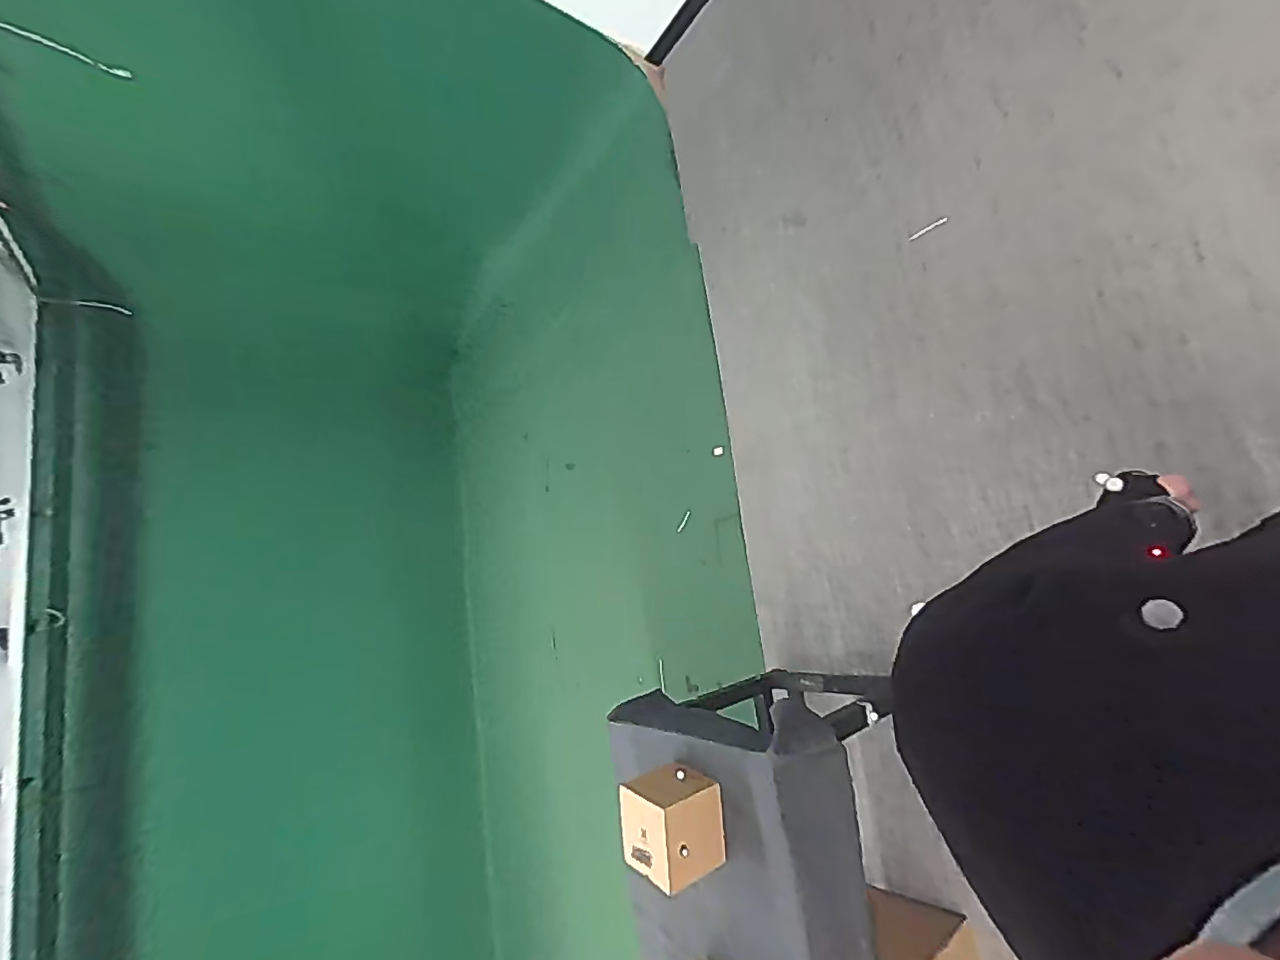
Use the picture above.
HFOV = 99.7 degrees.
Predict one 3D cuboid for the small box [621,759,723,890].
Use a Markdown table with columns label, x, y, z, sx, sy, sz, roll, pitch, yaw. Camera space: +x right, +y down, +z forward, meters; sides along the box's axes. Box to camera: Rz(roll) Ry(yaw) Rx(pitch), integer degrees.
| label | x | y | z | sx | sy | sz | roll | pitch | yaw |
| --- | --- | --- | --- | --- | --- | --- | --- | --- | --- |
| small box | 0.074 | 0.778 | 1.243 | 0.168 | 0.176 | 0.179 | -10 | 83 | 52 |
